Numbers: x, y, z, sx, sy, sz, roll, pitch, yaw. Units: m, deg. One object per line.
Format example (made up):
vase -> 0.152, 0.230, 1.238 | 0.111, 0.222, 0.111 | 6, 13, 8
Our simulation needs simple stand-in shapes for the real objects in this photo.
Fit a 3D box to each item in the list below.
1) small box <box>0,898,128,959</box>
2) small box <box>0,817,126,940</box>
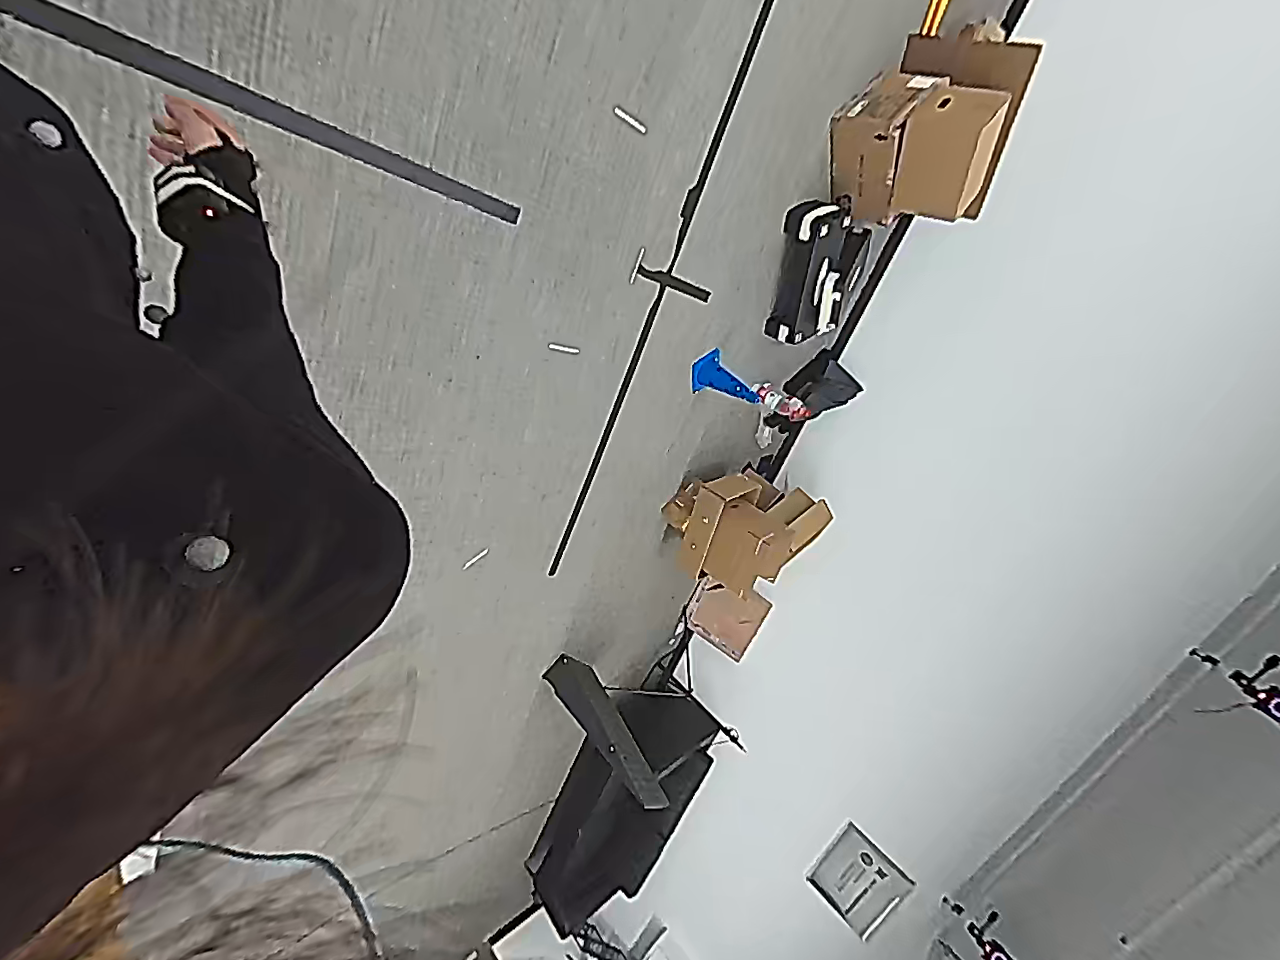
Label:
small box -> -1.063, 0.916, 0.983 | 0.168, 0.176, 0.179 | -1, 122, -51
small box -> -1.160, 0.822, 1.075 | 0.179, 0.176, 0.168 | -2, 122, -50
